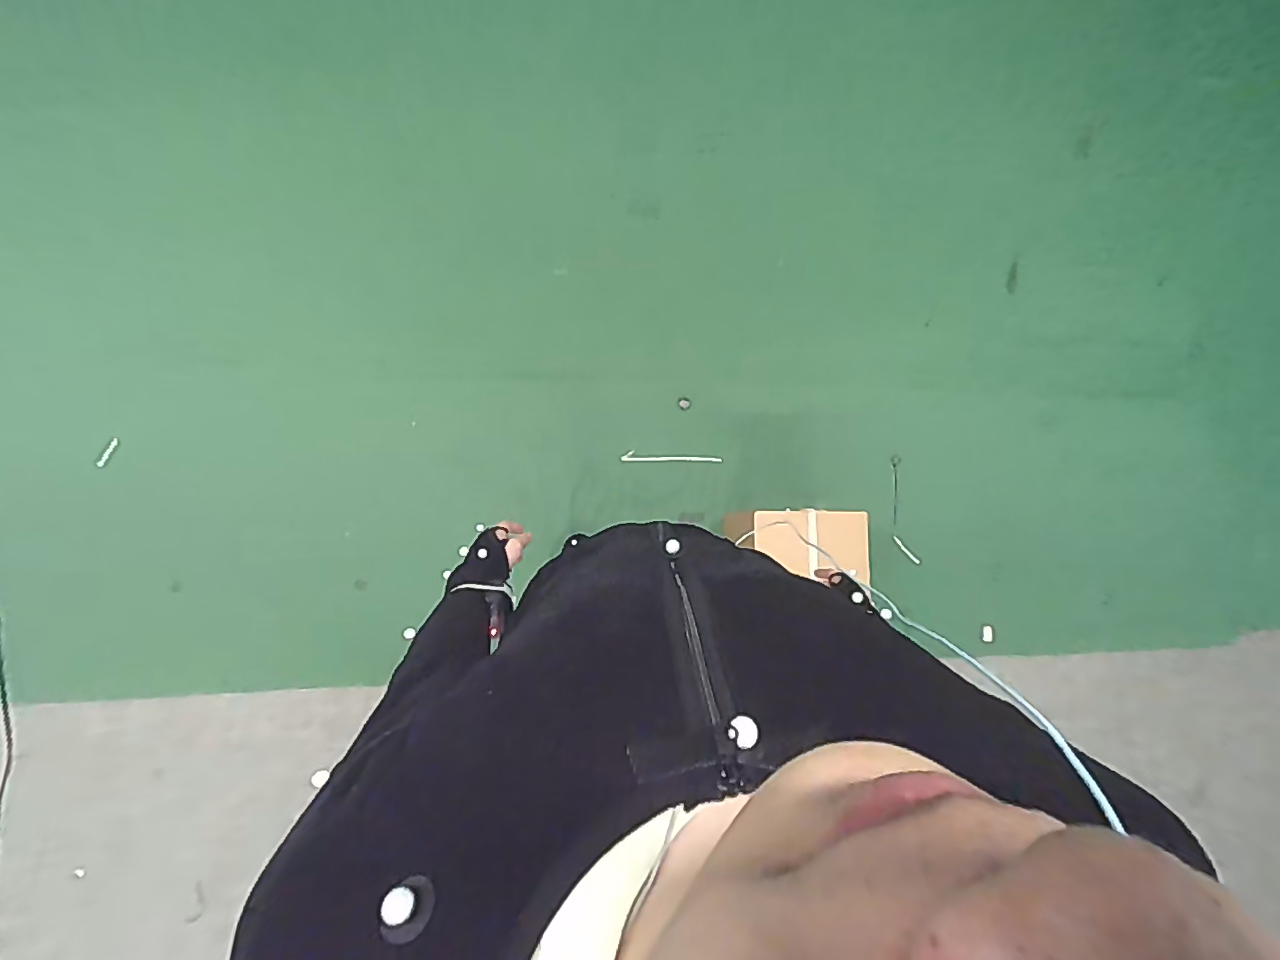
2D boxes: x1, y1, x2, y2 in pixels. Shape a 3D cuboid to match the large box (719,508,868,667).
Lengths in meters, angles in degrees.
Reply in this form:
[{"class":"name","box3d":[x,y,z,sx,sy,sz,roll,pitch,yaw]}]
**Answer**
[{"class":"large box","box3d":[0.419,0.287,1.548,0.320,0.320,0.408,0,84,-7]}]
